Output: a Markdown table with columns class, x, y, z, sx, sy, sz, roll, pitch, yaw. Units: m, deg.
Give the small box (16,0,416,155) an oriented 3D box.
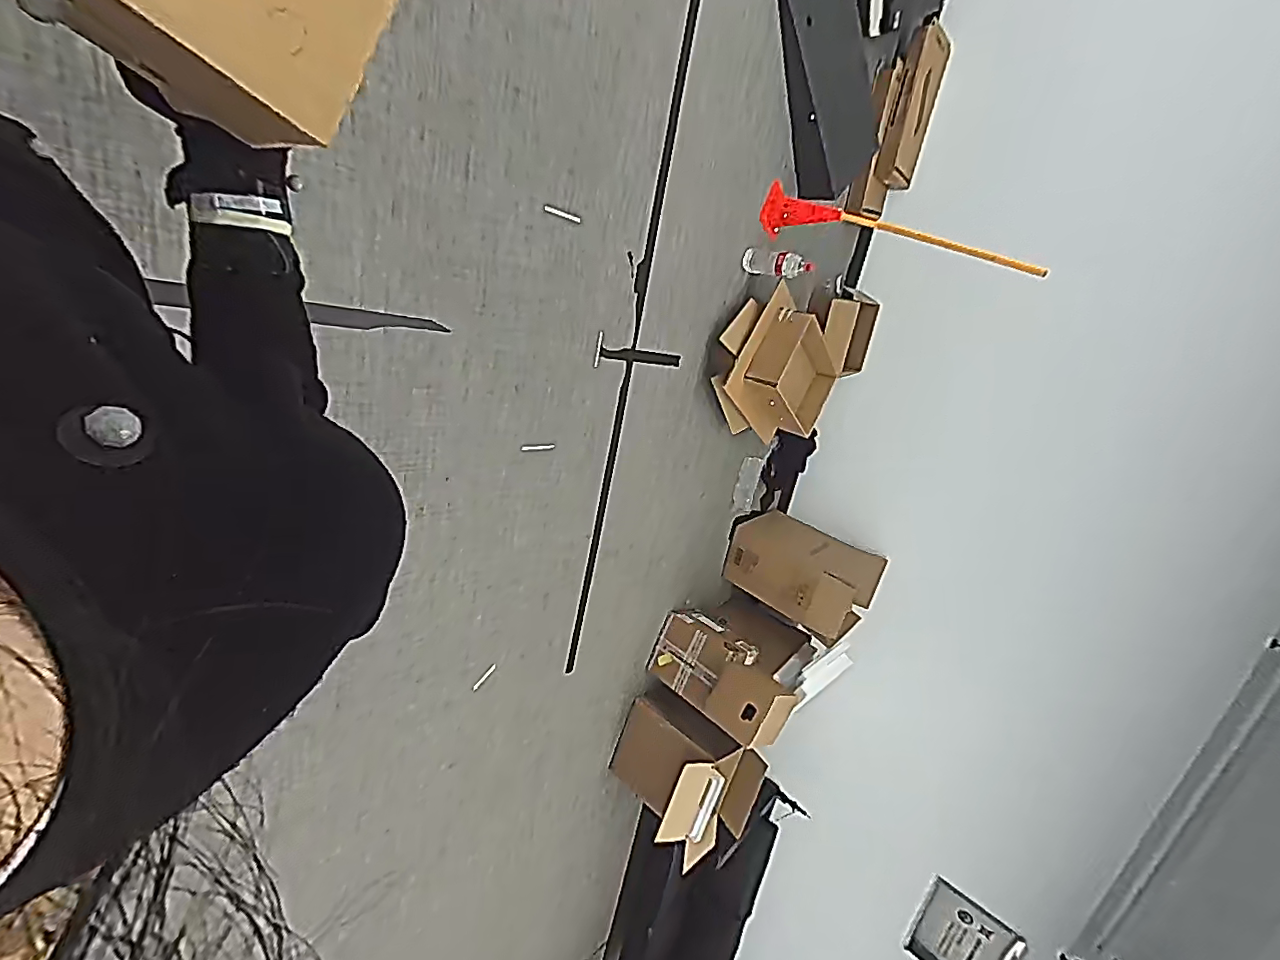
| class | x | y | z | sx | sy | sz | roll | pitch | yaw |
| --- | --- | --- | --- | --- | --- | --- | --- | --- | --- |
| small box | -0.222 | -0.297 | 0.275 | 0.168 | 0.176 | 0.179 | 20 | 94 | -50 |
